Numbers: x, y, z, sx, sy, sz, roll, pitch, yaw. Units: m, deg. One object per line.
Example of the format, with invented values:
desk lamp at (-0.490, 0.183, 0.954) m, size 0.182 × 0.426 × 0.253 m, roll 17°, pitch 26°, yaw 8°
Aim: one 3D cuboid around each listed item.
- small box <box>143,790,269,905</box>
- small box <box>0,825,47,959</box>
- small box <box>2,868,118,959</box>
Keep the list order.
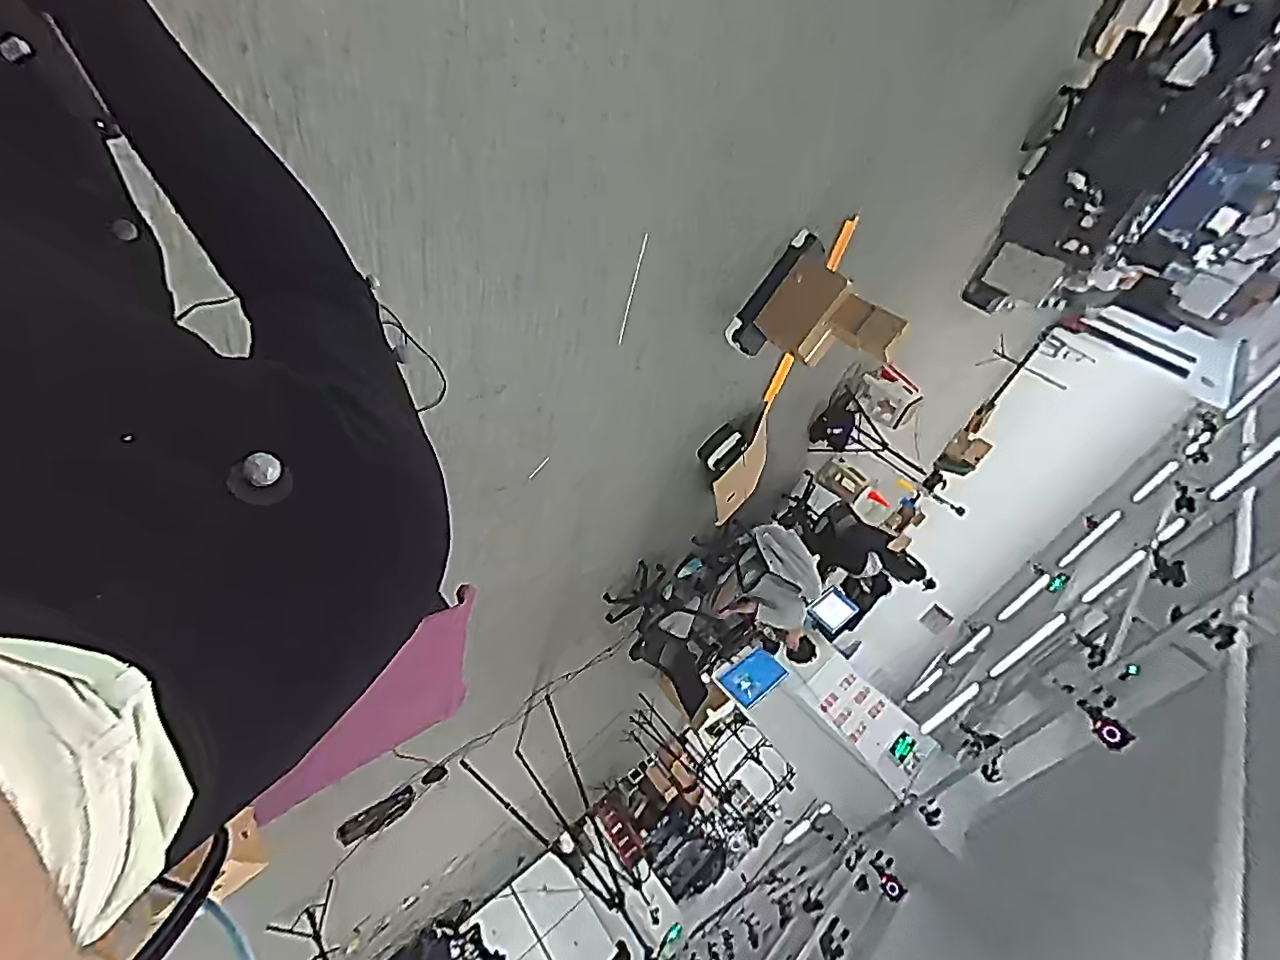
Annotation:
small box at (-1.074, 0.906, 1.340) m, size 0.168 × 0.176 × 0.179 m, roll -32°, pitch 150°, yaw -23°
small box at (-1.213, 0.770, 0.963) m, size 0.179 × 0.176 × 0.168 m, roll -18°, pitch 143°, yaw -43°
small box at (-1.291, 0.998, 1.171) m, size 0.179 × 0.176 × 0.168 m, roll -26°, pitch 146°, yaw -35°
